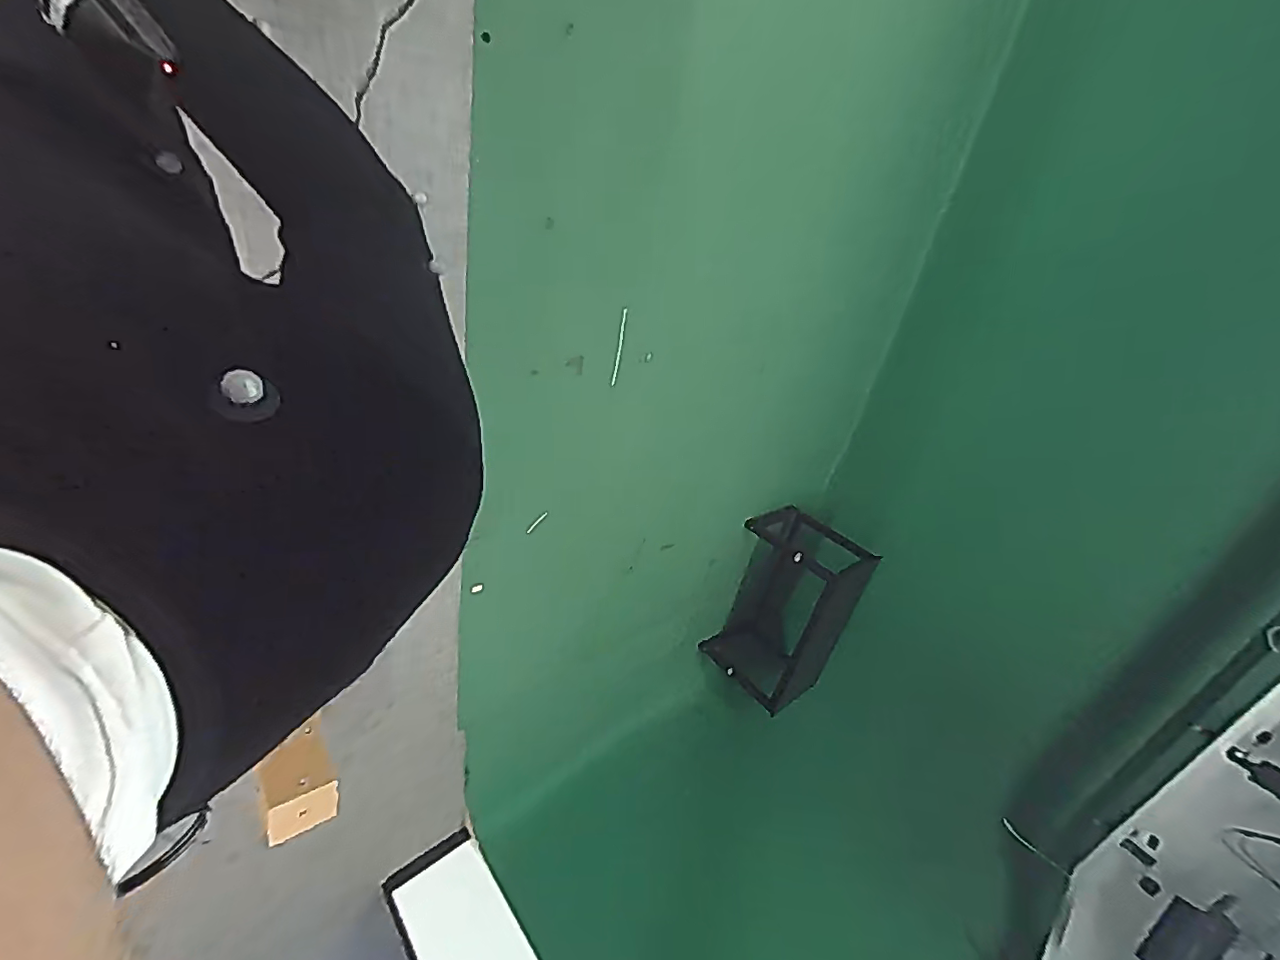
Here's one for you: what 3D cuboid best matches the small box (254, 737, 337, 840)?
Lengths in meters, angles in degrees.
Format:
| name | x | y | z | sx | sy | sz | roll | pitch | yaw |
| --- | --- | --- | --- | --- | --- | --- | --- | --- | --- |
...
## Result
| name | x | y | z | sx | sy | sz | roll | pitch | yaw |
| --- | --- | --- | --- | --- | --- | --- | --- | --- | --- |
| small box | -1.025 | 0.907 | 1.609 | 0.179 | 0.176 | 0.168 | -8 | 123 | -43 |
